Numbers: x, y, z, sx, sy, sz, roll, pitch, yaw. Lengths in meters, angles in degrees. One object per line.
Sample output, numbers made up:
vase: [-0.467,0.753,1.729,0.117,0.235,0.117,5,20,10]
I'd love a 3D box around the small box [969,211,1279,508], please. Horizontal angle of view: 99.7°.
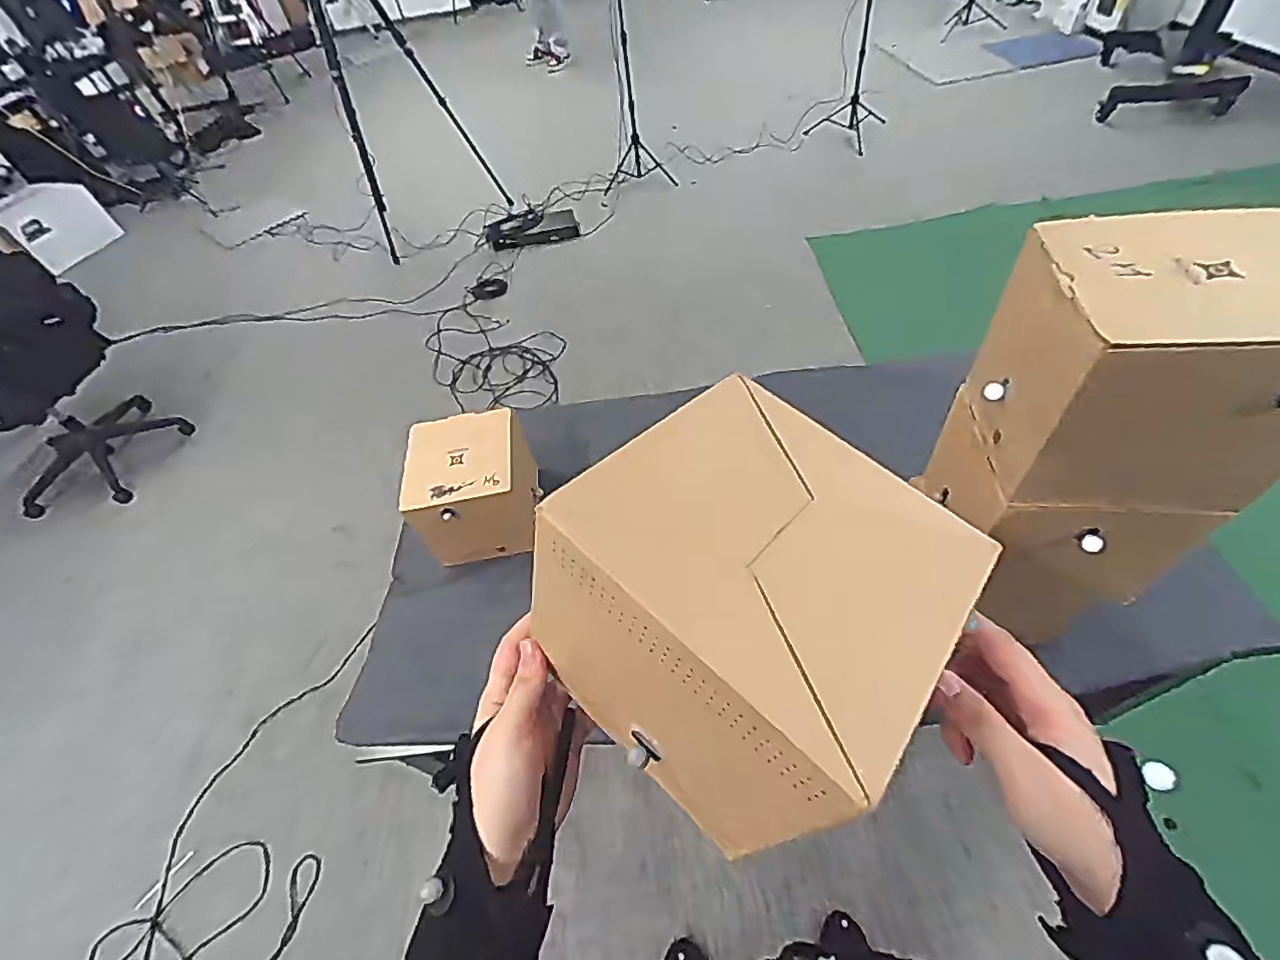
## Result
small box: [0.401,-0.091,0.437,0.179,0.176,0.168,2,51,13]

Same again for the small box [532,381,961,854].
small box: [0.053,0.076,0.320,0.179,0.176,0.168,40,53,19]

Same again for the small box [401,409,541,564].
small box: [-0.263,0.014,0.886,0.168,0.176,0.179,-10,52,0]

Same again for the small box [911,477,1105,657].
small box: [0.442,0.106,0.695,0.168,0.176,0.179,-8,50,4]

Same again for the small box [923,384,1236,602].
small box: [0.421,0.015,0.562,0.179,0.176,0.168,0,51,12]
